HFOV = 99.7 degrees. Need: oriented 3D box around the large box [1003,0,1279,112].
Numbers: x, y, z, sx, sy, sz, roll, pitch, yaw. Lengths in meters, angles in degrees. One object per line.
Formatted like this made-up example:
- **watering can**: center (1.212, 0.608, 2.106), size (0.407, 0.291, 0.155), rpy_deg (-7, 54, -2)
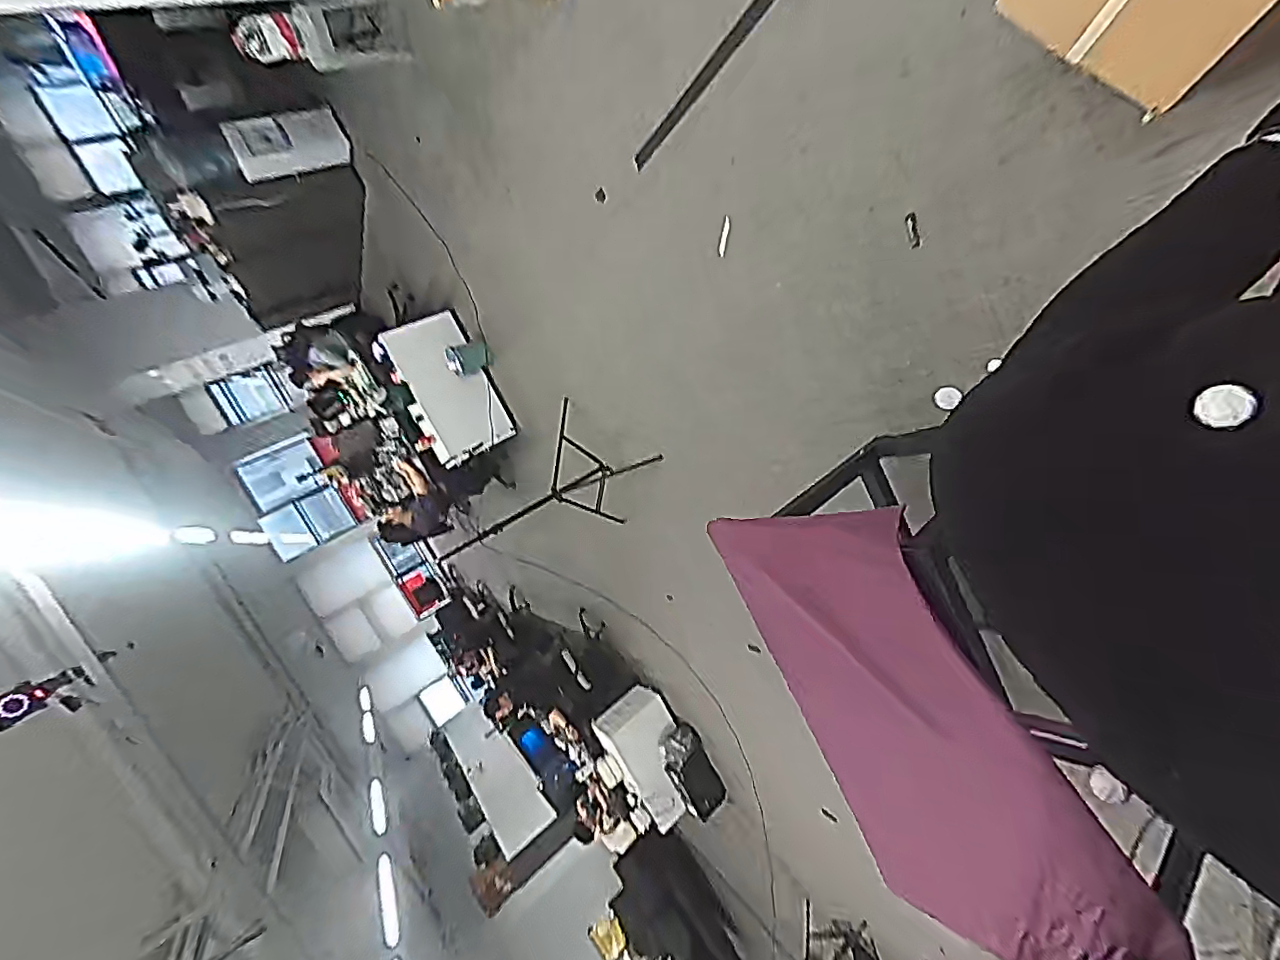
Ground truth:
- **large box**: center (0.815, -0.803, 0.711), size (0.320, 0.320, 0.408), rpy_deg (51, 153, 16)
